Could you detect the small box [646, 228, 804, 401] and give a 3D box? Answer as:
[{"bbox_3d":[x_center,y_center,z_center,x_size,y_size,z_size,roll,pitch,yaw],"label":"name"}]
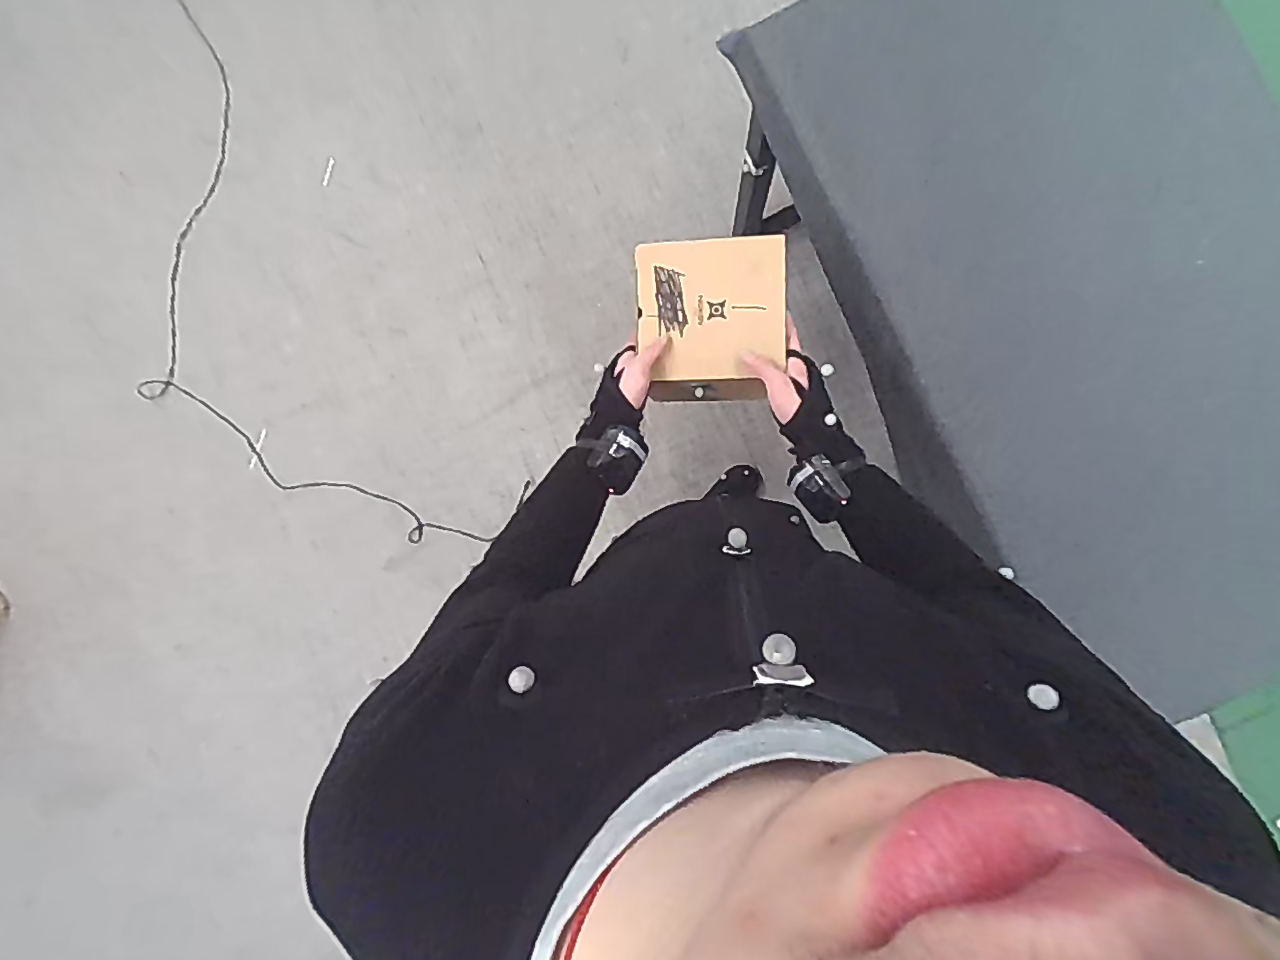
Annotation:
[{"bbox_3d":[0.103,-0.196,0.687,0.179,0.176,0.168,-2,90,6],"label":"small box"}]
